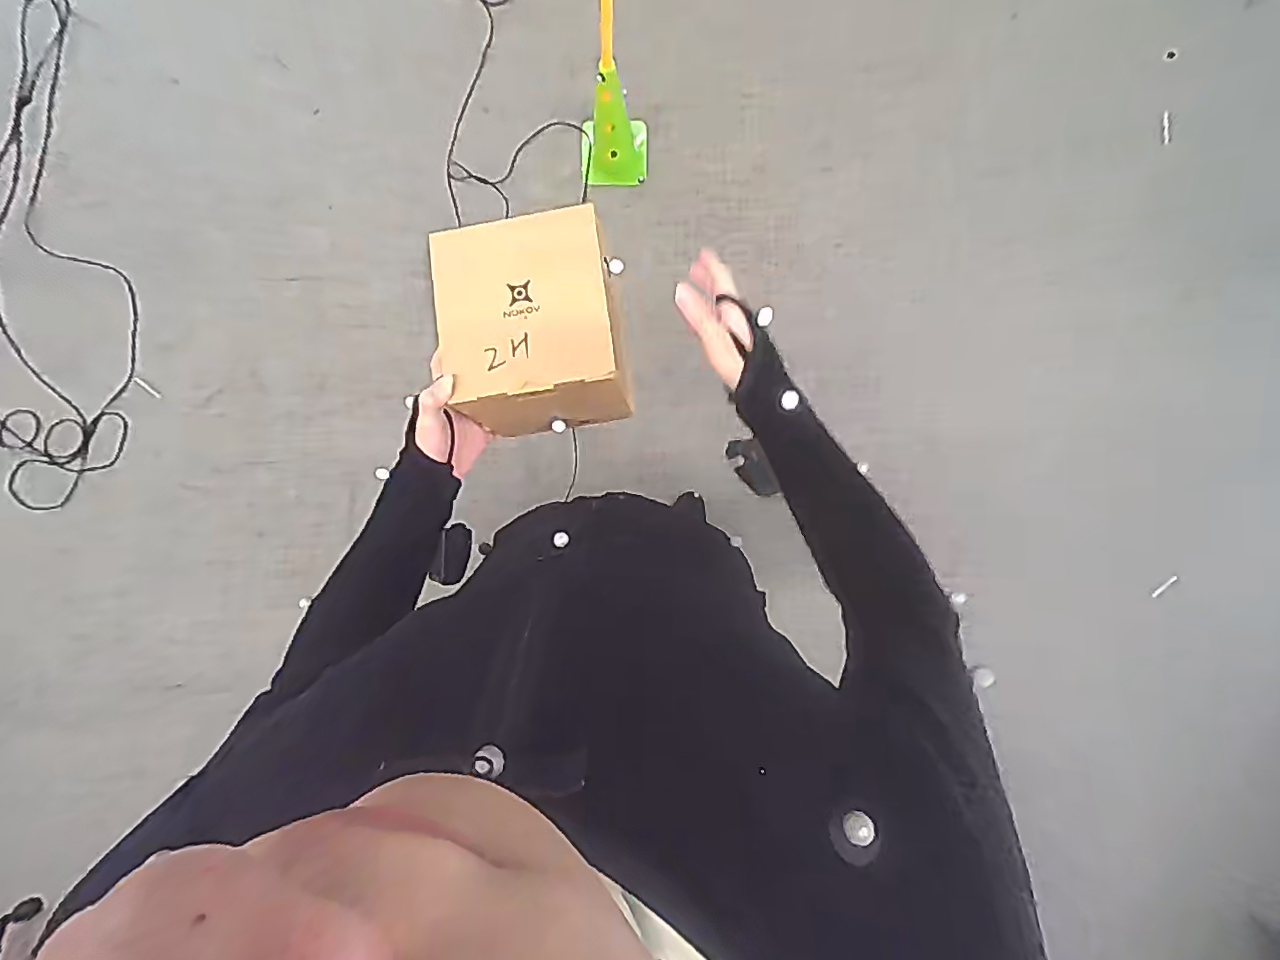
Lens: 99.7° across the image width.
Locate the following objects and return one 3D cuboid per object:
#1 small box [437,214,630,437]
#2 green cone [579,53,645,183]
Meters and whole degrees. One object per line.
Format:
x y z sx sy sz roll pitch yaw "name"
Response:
-0.107 -0.157 0.601 0.168 0.176 0.179 -8 83 4 "small box"
-0.089 -1.023 1.495 0.202 0.368 0.200 -1 88 1 "green cone"
